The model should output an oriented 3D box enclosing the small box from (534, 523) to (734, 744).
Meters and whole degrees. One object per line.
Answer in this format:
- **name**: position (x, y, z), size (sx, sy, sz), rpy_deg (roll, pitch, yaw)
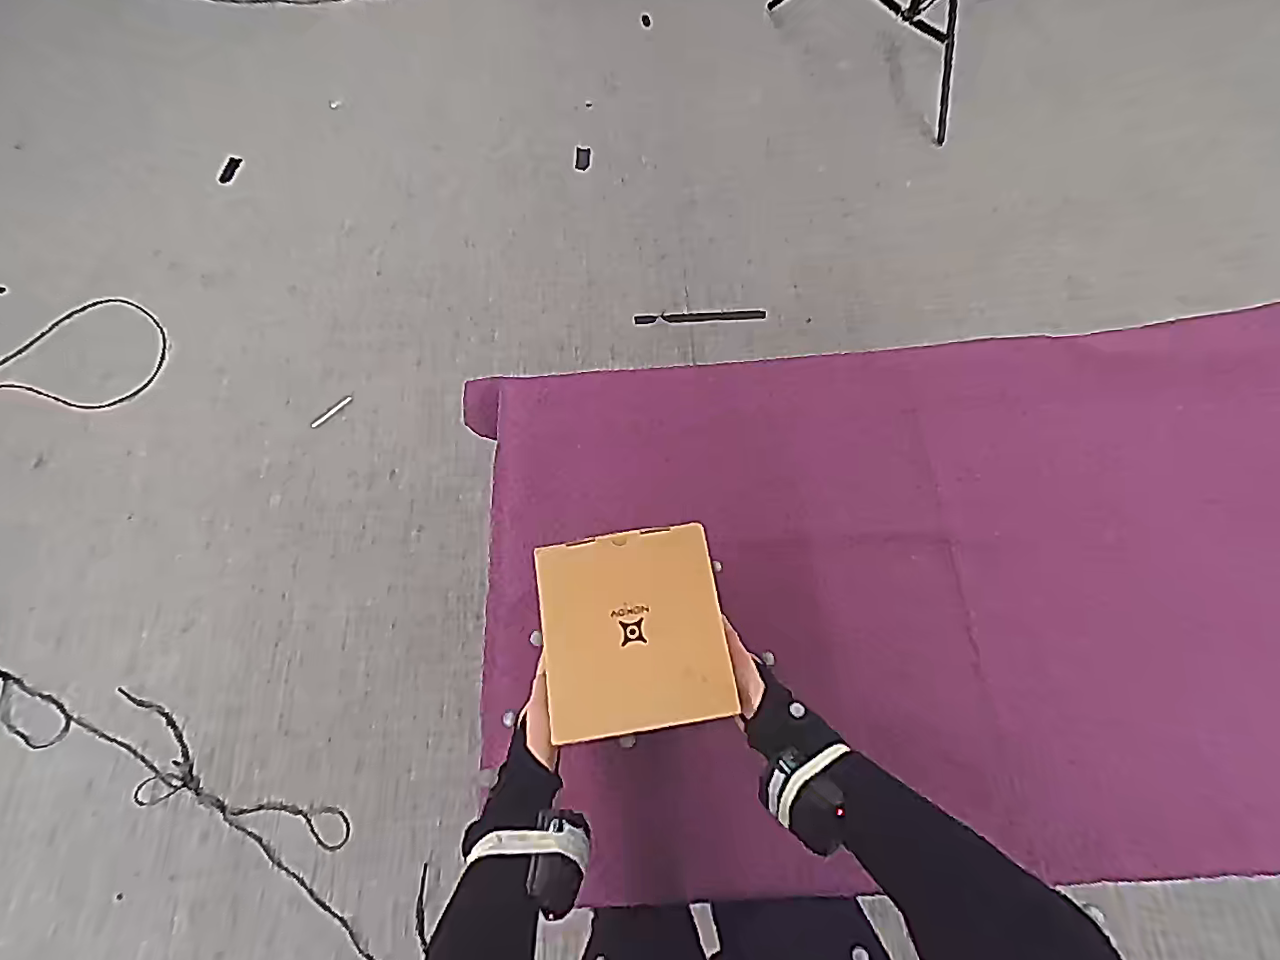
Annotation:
- **small box**: position (-0.007, 0.162, 0.564), size (0.168, 0.176, 0.179), rpy_deg (-9, 67, -2)
